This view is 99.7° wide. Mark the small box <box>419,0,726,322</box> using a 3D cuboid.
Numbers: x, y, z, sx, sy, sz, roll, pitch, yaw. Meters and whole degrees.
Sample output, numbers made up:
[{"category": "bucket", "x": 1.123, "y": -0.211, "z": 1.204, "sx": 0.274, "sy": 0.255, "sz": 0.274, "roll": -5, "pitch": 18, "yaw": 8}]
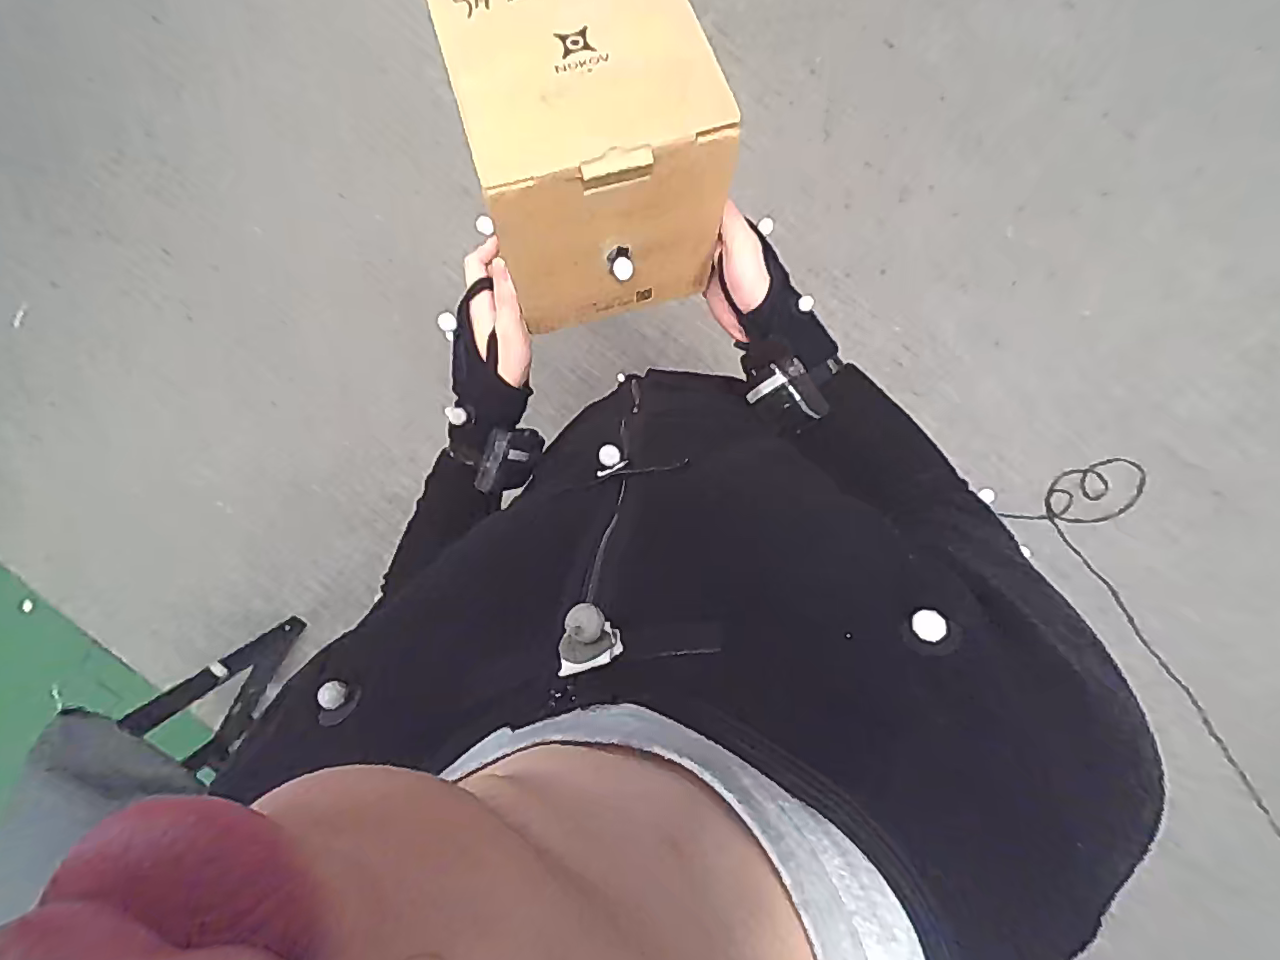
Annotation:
[{"category": "small box", "x": -0.047, "y": -0.243, "z": 0.419, "sx": 0.168, "sy": 0.176, "sz": 0.179, "roll": -16, "pitch": 77, "yaw": -5}]
